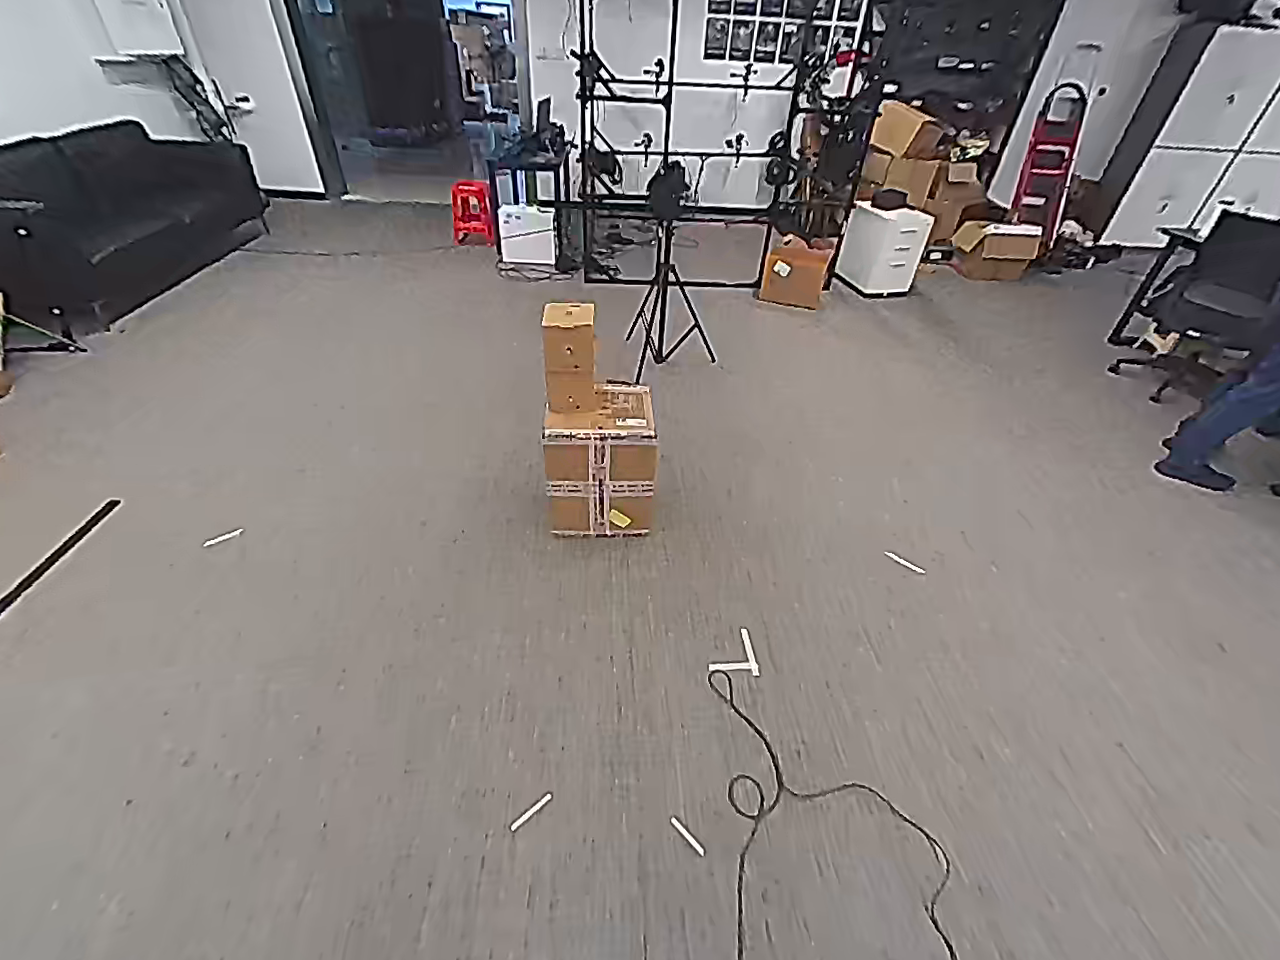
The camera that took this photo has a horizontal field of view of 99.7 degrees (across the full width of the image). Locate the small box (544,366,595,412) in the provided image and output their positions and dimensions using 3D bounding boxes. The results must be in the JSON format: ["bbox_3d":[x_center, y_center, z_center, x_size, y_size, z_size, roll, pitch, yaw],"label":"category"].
[{"bbox_3d":[-0.250,-0.362,1.949,0.168,0.176,0.179,-2,41,-3],"label":"small box"}]

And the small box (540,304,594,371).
[{"bbox_3d":[-0.242,-0.480,1.834,0.168,0.176,0.179,-1,42,-3],"label":"small box"}]
